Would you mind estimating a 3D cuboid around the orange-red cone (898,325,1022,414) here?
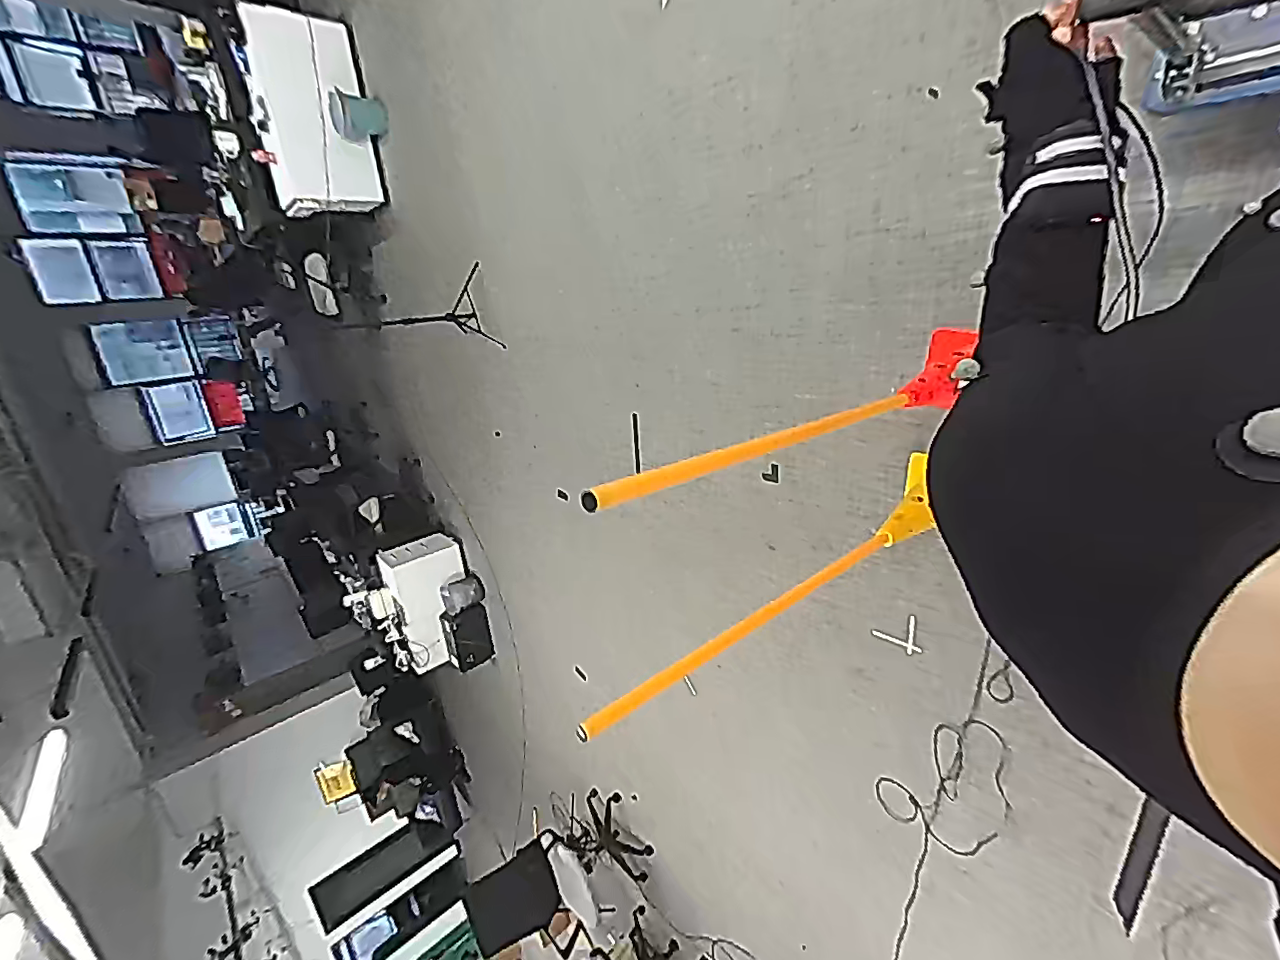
[{"bbox_3d":[0.683,-0.230,1.230,0.198,0.360,0.199,25,123,42],"label":"orange-red cone"}]
